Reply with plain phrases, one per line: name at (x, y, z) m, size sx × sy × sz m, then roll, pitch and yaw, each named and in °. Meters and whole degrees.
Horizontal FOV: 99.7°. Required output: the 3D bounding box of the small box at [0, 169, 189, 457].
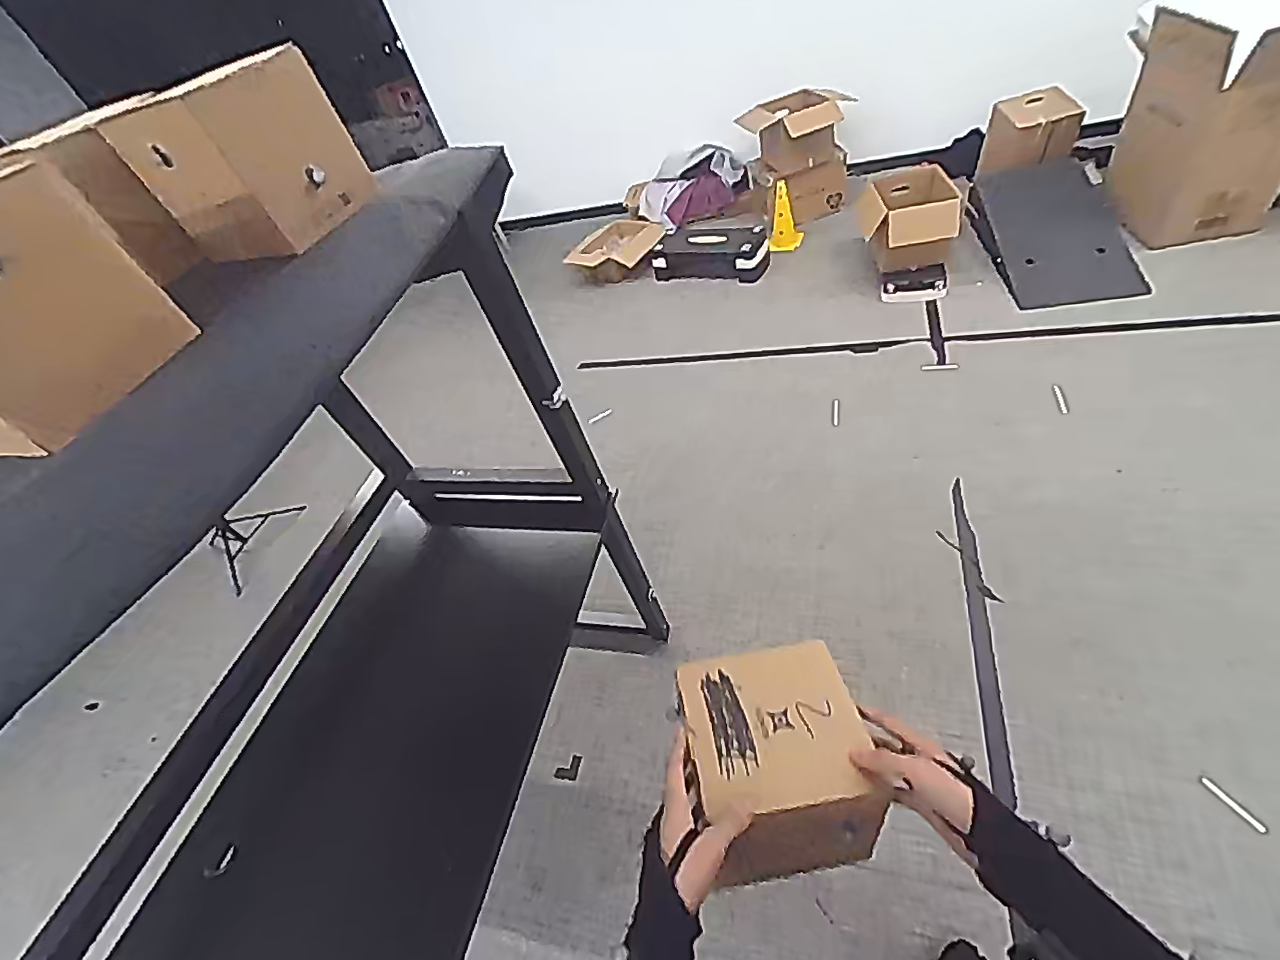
small box at (-0.558, -0.140, 0.476) m, size 0.168 × 0.176 × 0.179 m, roll 1°, pitch 50°, yaw 19°

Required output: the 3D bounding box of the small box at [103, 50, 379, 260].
small box at (-0.474, -0.389, 0.668) m, size 0.179 × 0.176 × 0.168 m, roll 7°, pitch 53°, yaw 24°
